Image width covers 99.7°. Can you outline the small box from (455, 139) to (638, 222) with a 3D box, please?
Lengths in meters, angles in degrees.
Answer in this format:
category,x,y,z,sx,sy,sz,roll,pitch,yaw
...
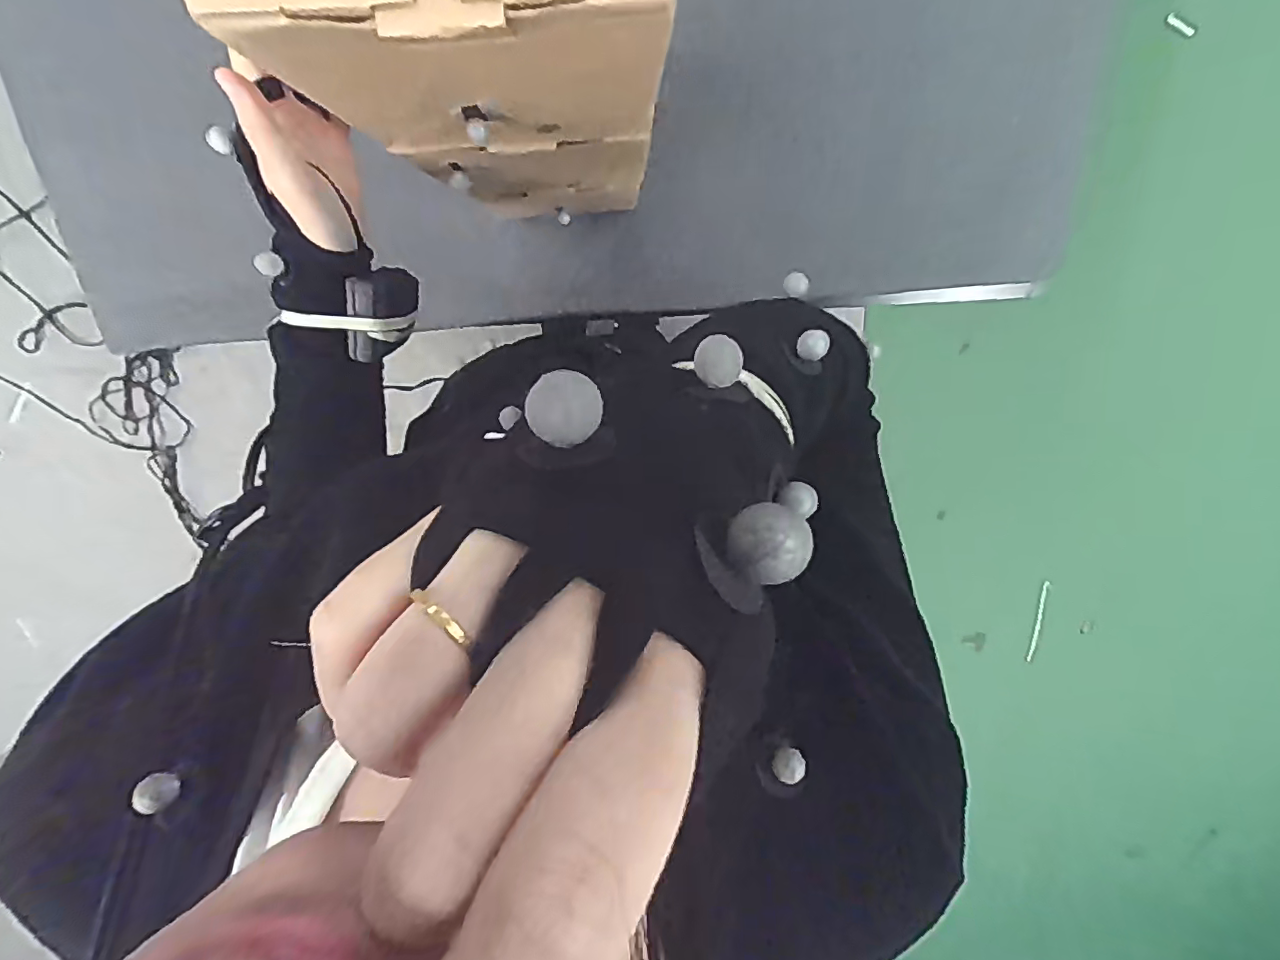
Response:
category,x,y,z,sx,sy,sz,roll,pitch,yaw
small box,-0.093,-0.372,0.548,0.168,0.176,0.179,-4,110,-1

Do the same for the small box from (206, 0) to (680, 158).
category,x,y,z,sx,sy,sz,roll,pitch,yaw
small box,-0.077,-0.265,0.240,0.168,0.176,0.179,-5,110,-2
